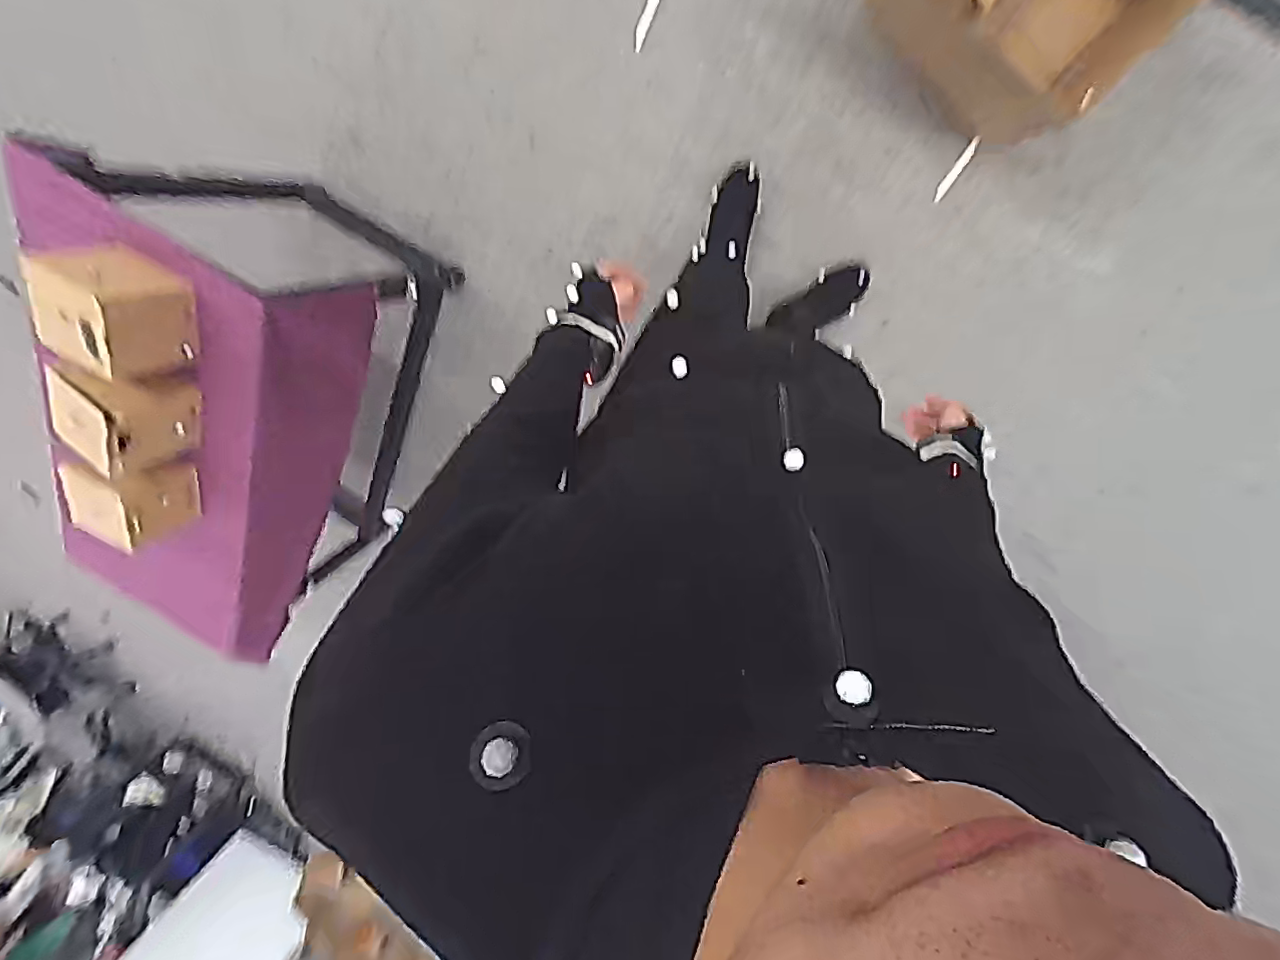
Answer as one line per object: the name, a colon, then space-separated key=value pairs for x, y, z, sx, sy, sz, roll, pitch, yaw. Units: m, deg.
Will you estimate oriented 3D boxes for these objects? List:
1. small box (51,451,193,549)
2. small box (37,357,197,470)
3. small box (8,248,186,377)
small box: x=-1.195 y=0.026 z=1.269 sx=0.179 sy=0.176 sz=0.168 roll=24 pitch=120 yaw=5
small box: x=-1.091 y=-0.157 z=1.139 sx=0.179 sy=0.176 sz=0.168 roll=32 pitch=121 yaw=0
small box: x=-1.006 y=-0.324 z=1.025 sx=0.179 sy=0.176 sz=0.168 roll=28 pitch=121 yaw=4
